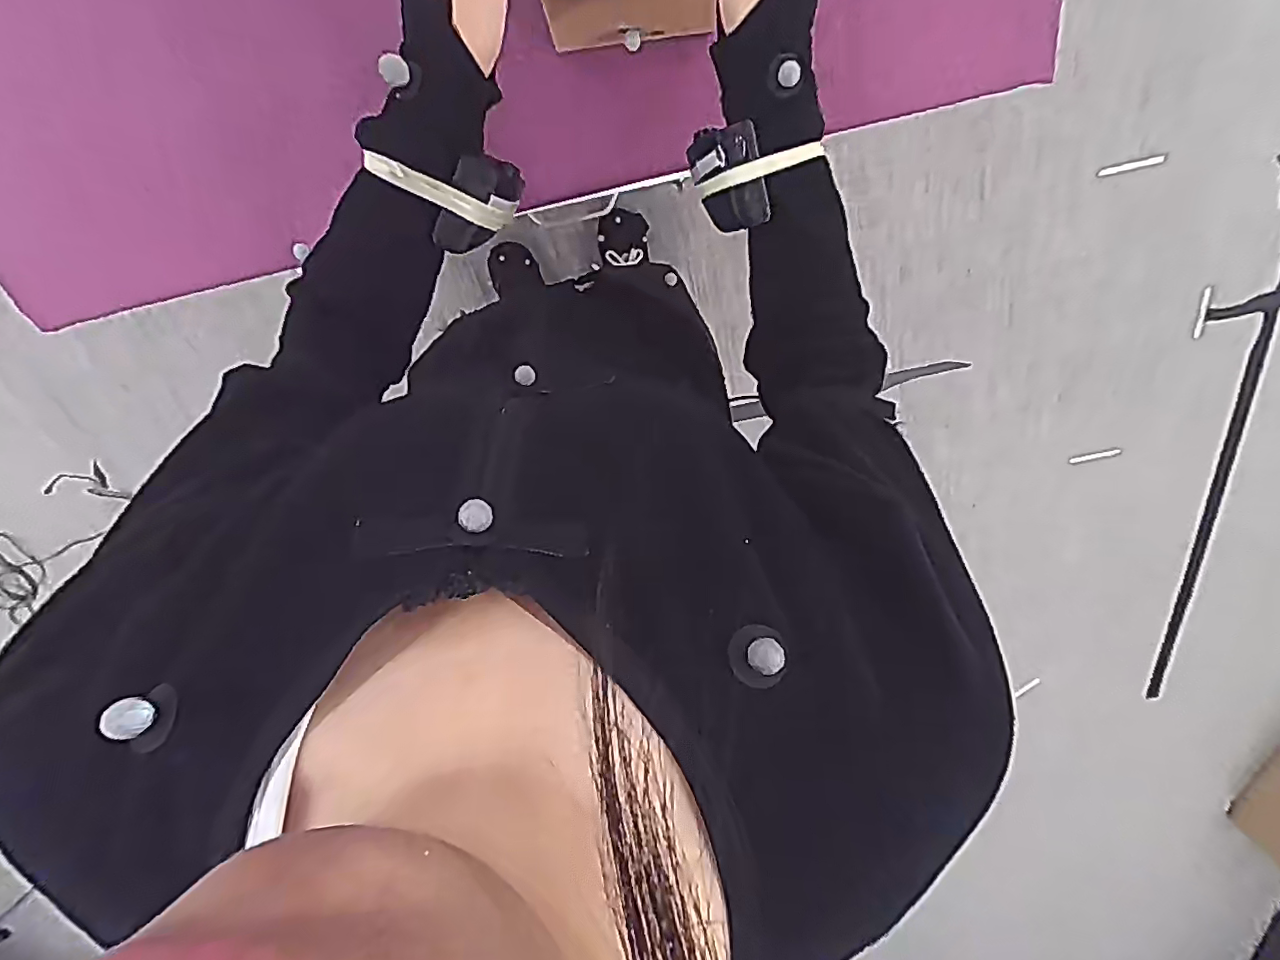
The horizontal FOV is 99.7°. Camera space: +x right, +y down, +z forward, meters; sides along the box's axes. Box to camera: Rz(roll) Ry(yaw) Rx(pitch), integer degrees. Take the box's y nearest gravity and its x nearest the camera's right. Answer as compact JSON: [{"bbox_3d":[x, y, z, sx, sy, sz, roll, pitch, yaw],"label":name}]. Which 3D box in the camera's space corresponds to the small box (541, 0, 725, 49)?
[{"bbox_3d":[-0.013,-0.493,0.447,0.168,0.176,0.179,-6,117,0],"label":"small box"}]
